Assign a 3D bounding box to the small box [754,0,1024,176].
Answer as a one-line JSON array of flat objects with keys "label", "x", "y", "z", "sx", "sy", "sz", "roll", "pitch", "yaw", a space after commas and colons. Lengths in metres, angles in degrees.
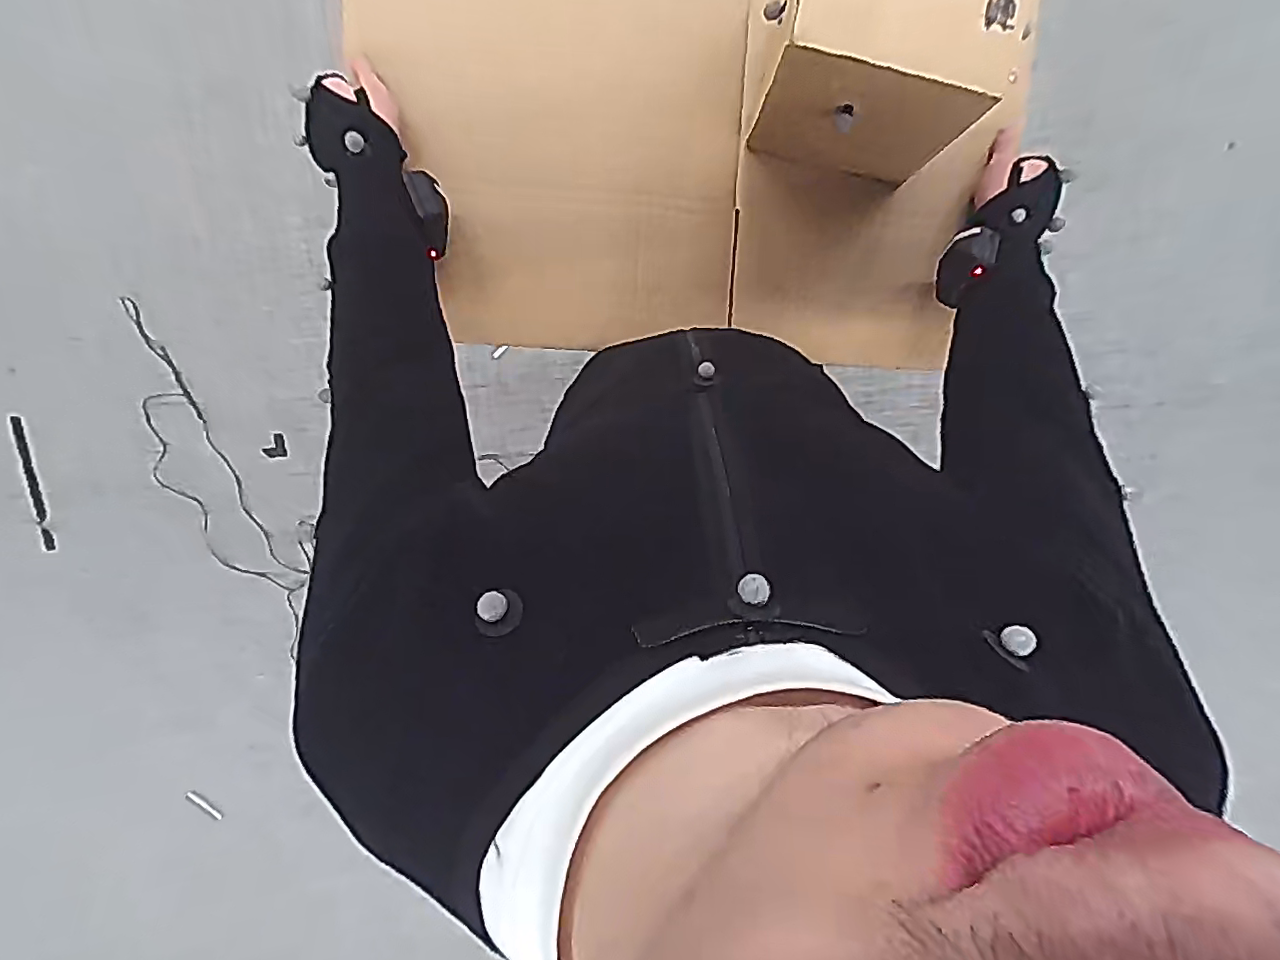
[{"label": "small box", "x": 0.215, "y": -0.408, "z": 0.493, "sx": 0.179, "sy": 0.176, "sz": 0.168, "roll": 13, "pitch": 98, "yaw": -1}]
